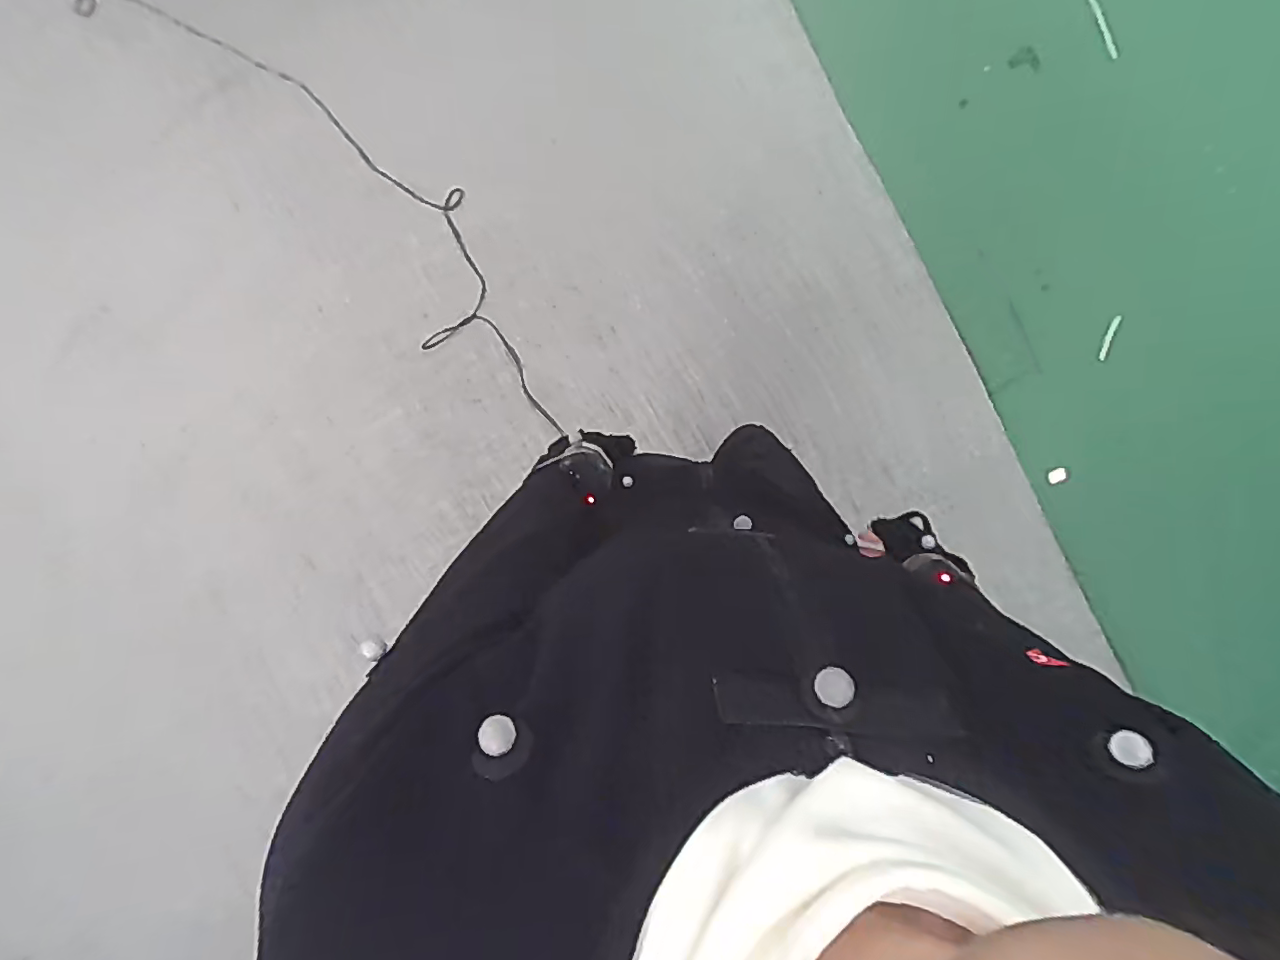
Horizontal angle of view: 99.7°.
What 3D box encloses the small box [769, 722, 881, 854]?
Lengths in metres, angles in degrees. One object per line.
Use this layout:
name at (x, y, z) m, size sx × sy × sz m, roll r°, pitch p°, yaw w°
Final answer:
small box at (0.411, 0.699, 1.245) m, size 0.179 × 0.176 × 0.168 m, roll -25°, pitch 94°, yaw 2°
